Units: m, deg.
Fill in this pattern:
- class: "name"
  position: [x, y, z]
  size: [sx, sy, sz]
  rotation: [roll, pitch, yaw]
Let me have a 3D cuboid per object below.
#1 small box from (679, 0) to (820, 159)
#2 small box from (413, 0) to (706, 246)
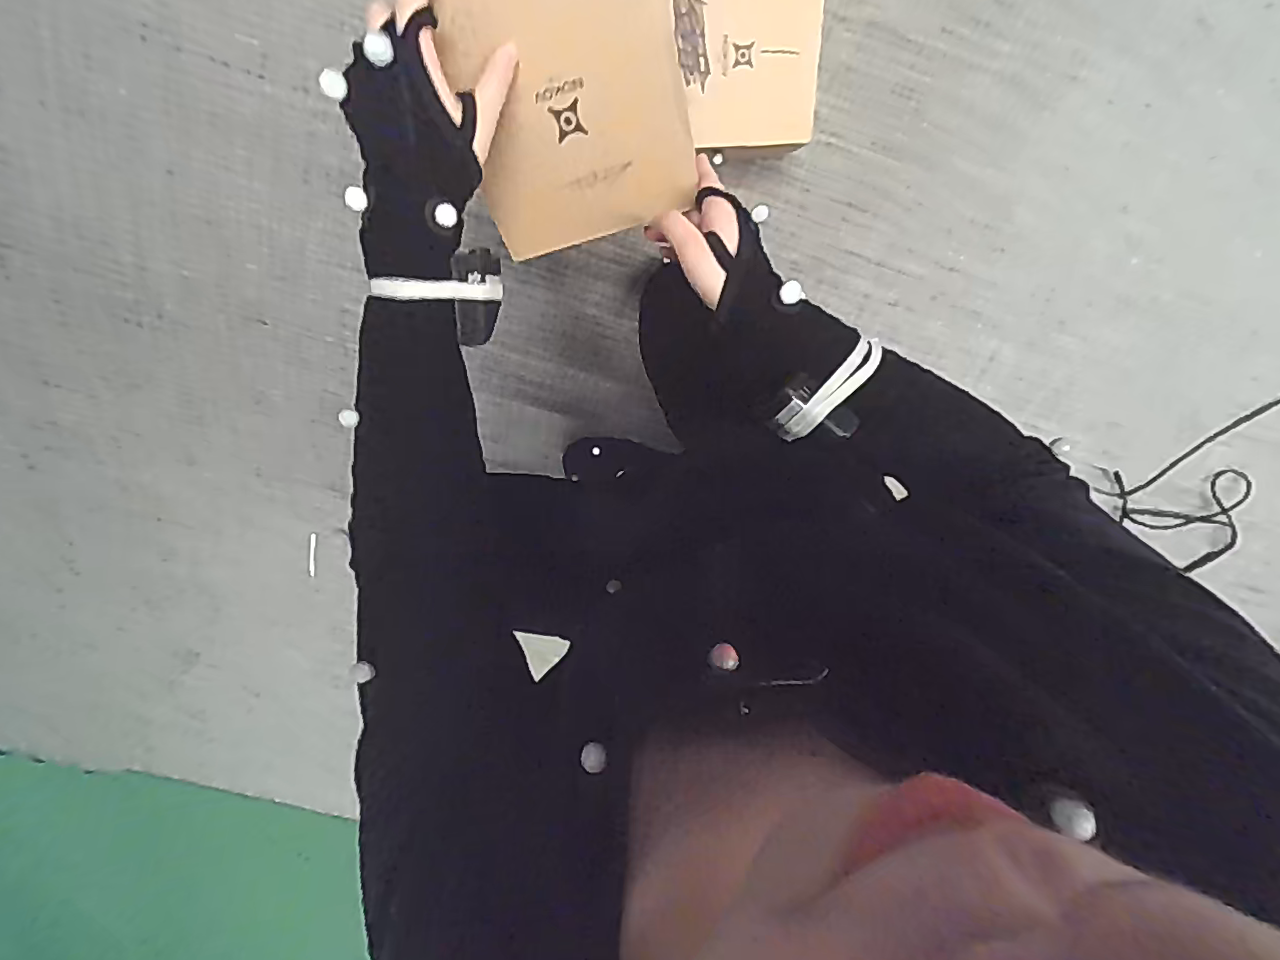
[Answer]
- class: "small box"
  position: [0.101, -0.480, 0.635]
  size: [0.179, 0.176, 0.168]
  rotation: [-1, 116, 4]
- class: "small box"
  position: [-0.047, -0.323, 0.434]
  size: [0.168, 0.176, 0.179]
  rotation: [-10, 135, 11]
